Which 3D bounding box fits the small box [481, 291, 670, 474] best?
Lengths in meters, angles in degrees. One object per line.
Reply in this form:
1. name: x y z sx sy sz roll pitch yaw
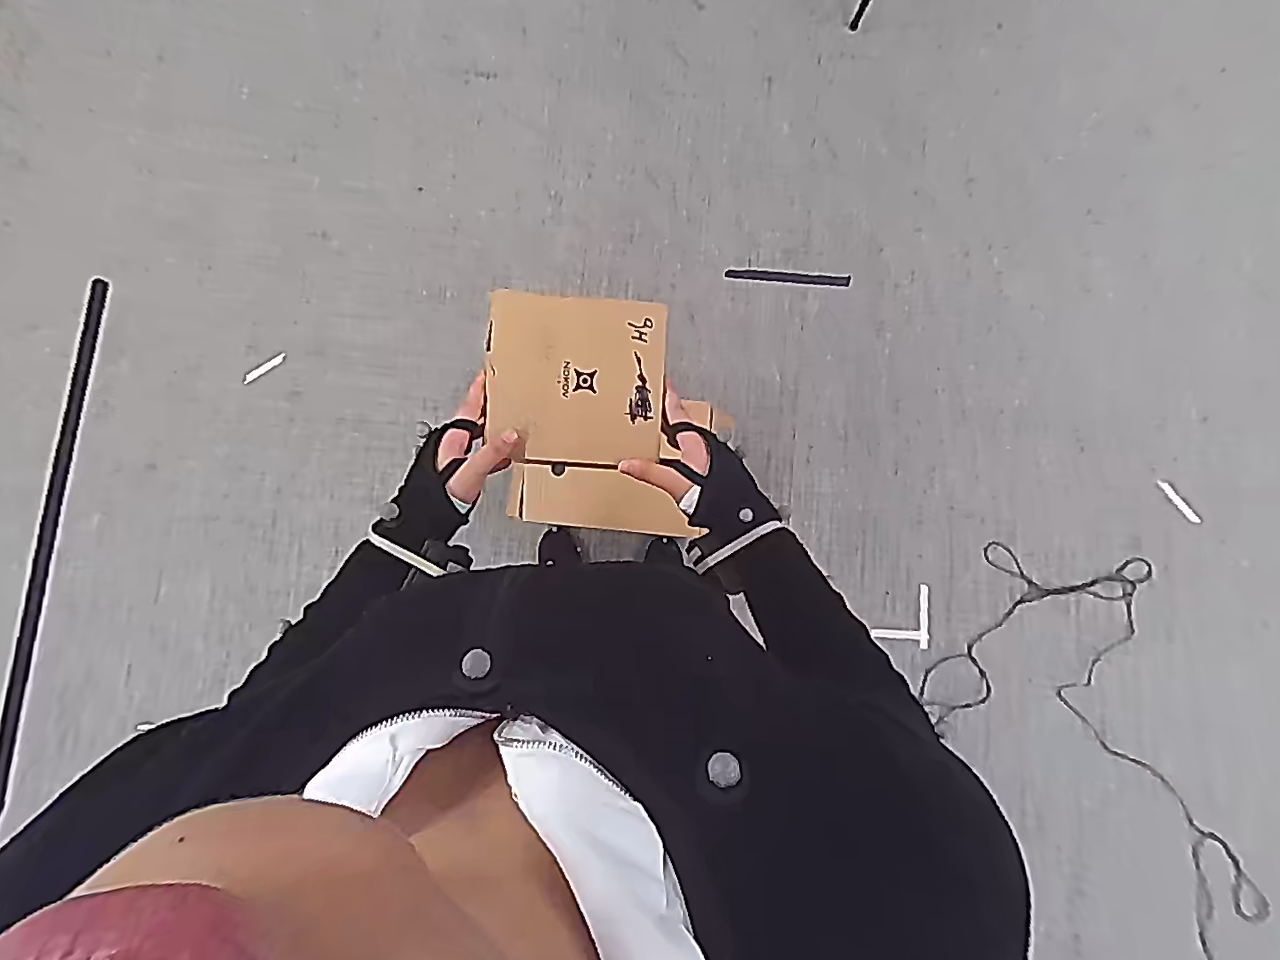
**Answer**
1. small box: -0.067 -0.095 0.604 0.179 0.176 0.168 3 89 -5
